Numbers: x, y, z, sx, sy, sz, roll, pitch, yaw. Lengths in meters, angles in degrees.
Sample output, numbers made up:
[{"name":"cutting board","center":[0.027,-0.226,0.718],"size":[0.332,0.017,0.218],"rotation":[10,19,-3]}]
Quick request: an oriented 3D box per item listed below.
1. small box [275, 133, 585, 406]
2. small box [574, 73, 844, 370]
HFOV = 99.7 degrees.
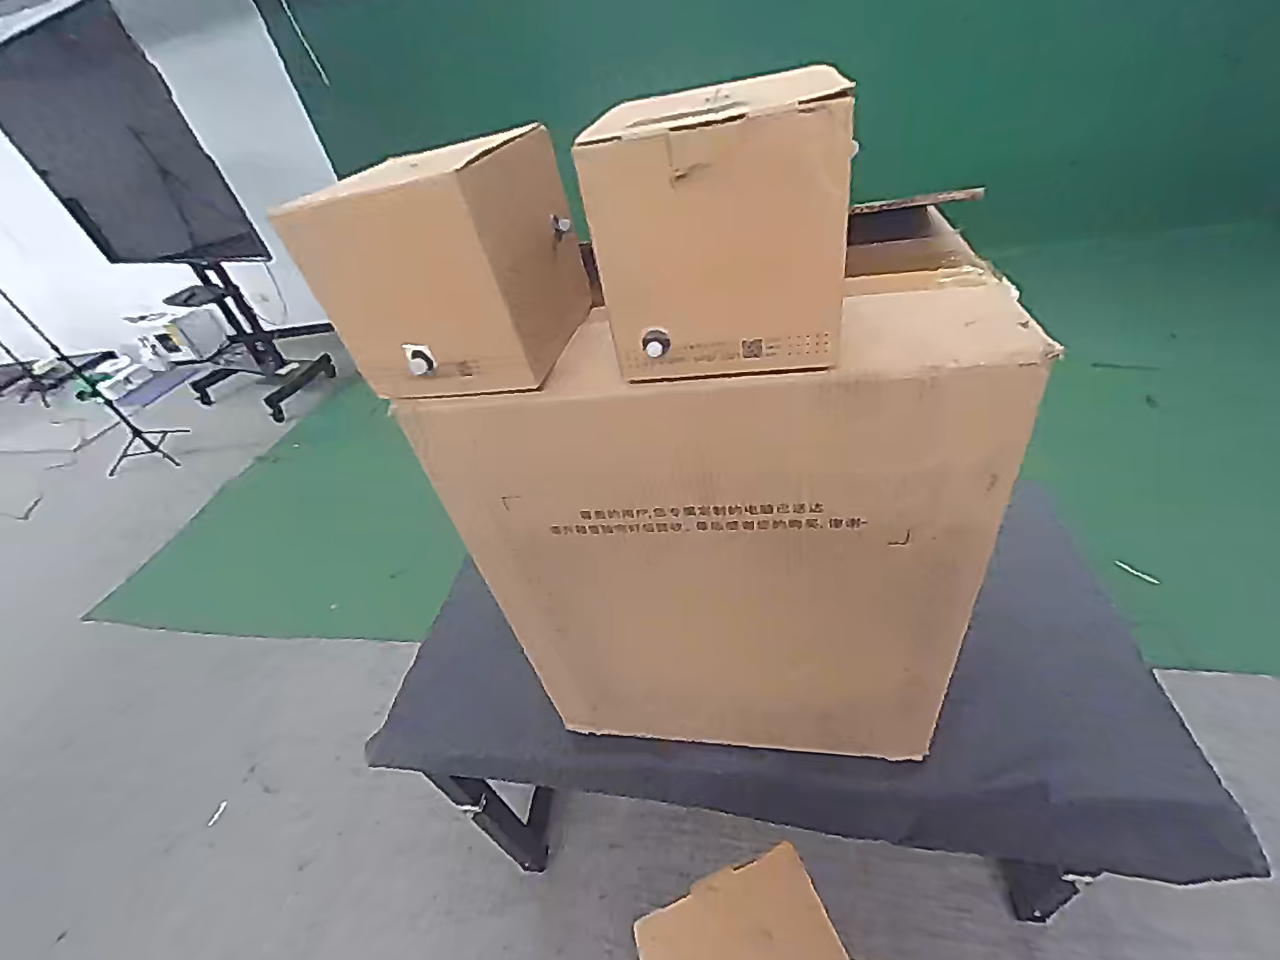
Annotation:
[{"name":"small box","center":[-0.160,-0.186,0.486],"size":[0.168,0.176,0.179],"rotation":[-3,41,16]},{"name":"small box","center":[0.064,-0.197,0.429],"size":[0.168,0.176,0.179],"rotation":[-2,39,13]}]
